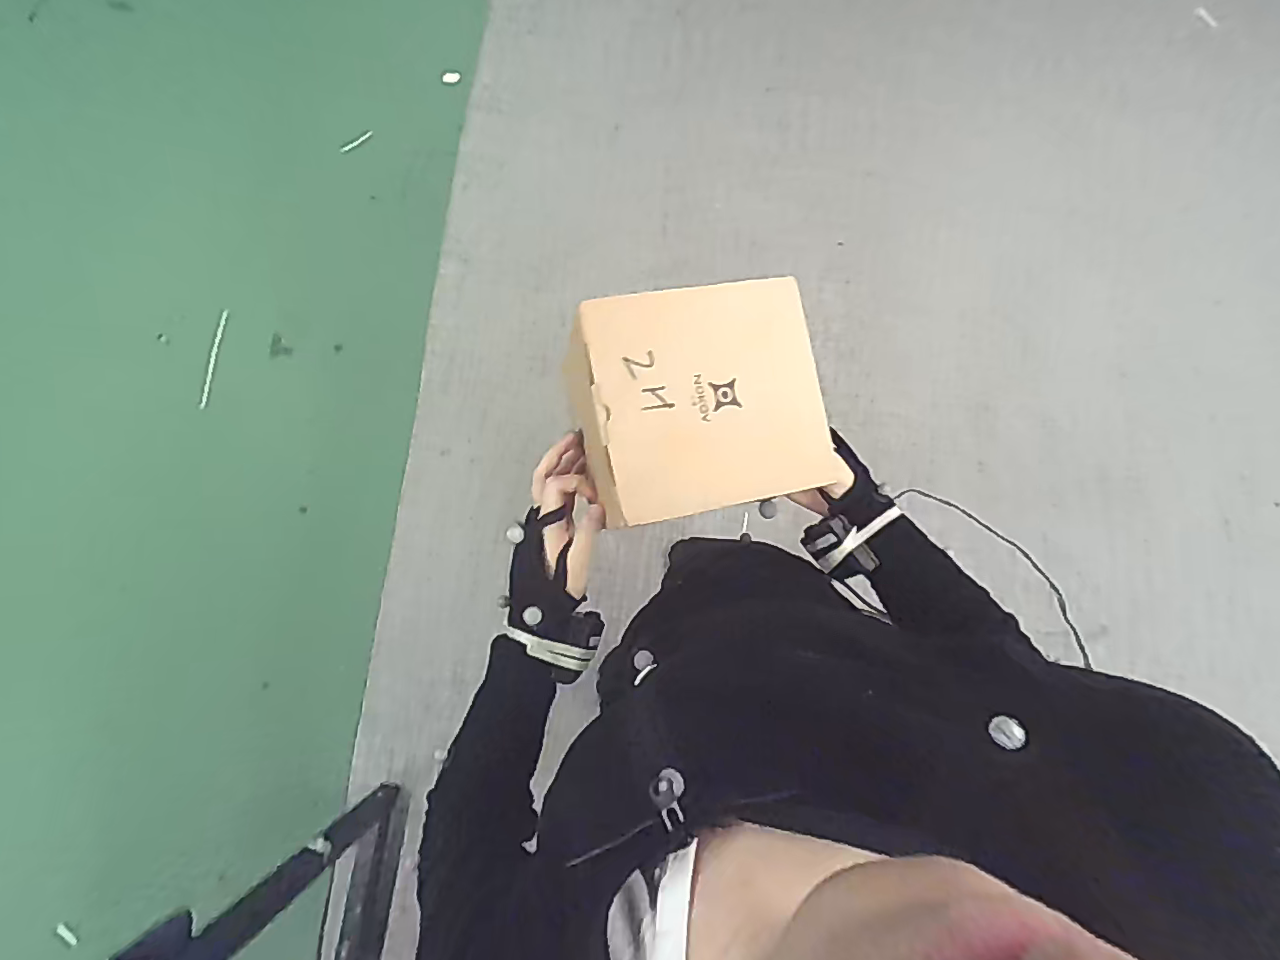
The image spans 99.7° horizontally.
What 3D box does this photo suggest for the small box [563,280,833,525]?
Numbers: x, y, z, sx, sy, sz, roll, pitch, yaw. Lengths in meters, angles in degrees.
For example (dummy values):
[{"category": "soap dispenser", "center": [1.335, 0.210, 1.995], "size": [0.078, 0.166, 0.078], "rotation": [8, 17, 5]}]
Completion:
[{"category": "small box", "center": [0.036, -0.058, 0.480], "size": [0.179, 0.176, 0.168], "rotation": [-11, 88, -13]}]
